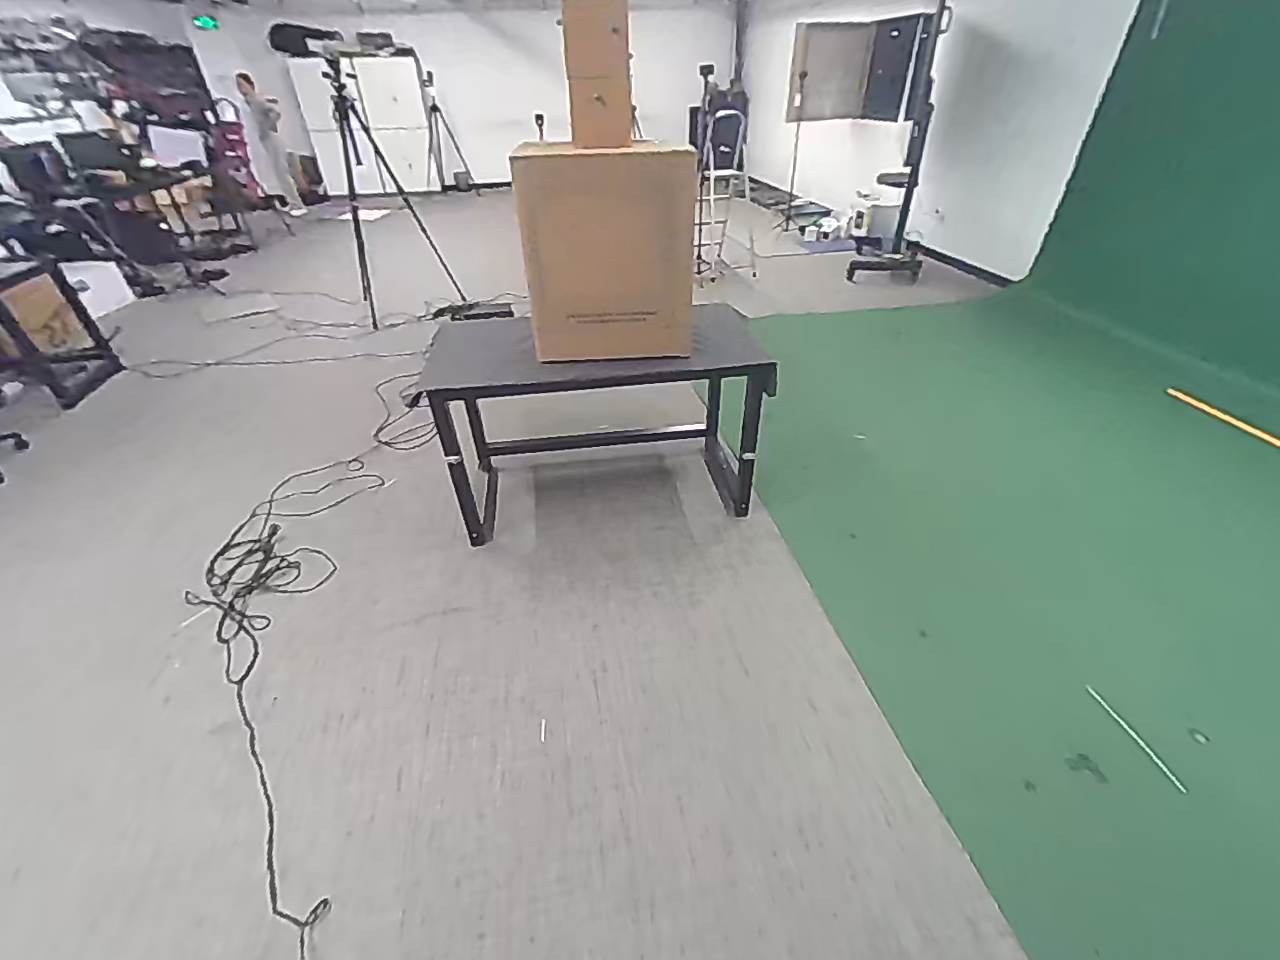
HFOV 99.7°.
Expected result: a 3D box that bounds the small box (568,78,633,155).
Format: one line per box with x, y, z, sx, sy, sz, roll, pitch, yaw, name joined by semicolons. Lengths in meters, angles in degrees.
-0.109;-1.056;1.571;0.179;0.176;0.168;-2;39;-1;small box
